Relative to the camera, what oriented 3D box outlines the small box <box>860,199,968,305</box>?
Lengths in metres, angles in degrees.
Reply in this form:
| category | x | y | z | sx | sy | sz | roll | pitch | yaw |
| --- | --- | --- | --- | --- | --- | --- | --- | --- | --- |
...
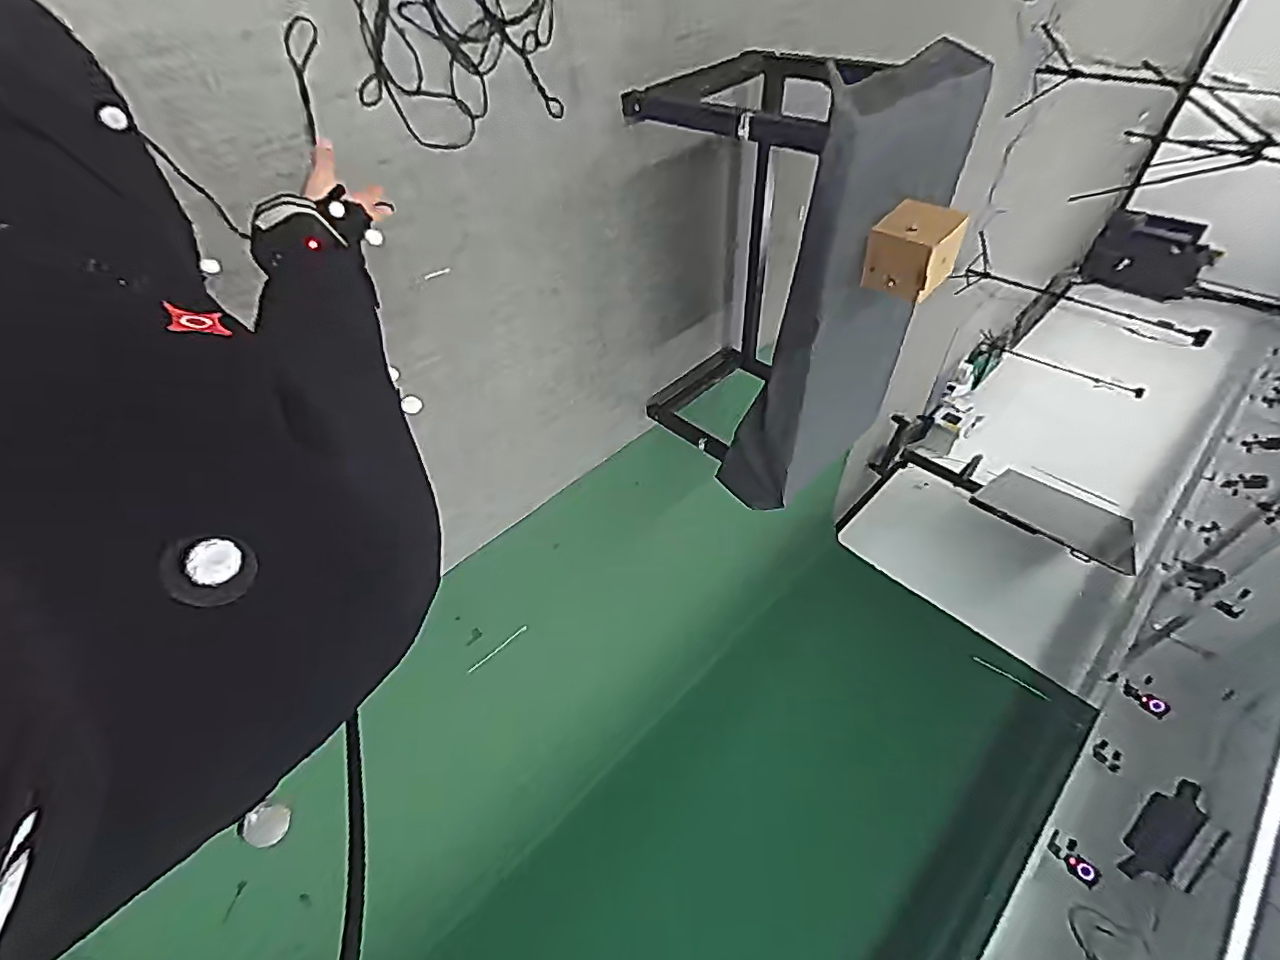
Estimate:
| category | x | y | z | sx | sy | sz | roll | pitch | yaw |
| --- | --- | --- | --- | --- | --- | --- | --- | --- | --- |
| small box | 0.693 | -0.588 | 1.389 | 0.179 | 0.176 | 0.168 | -43 | 149 | -20 |
